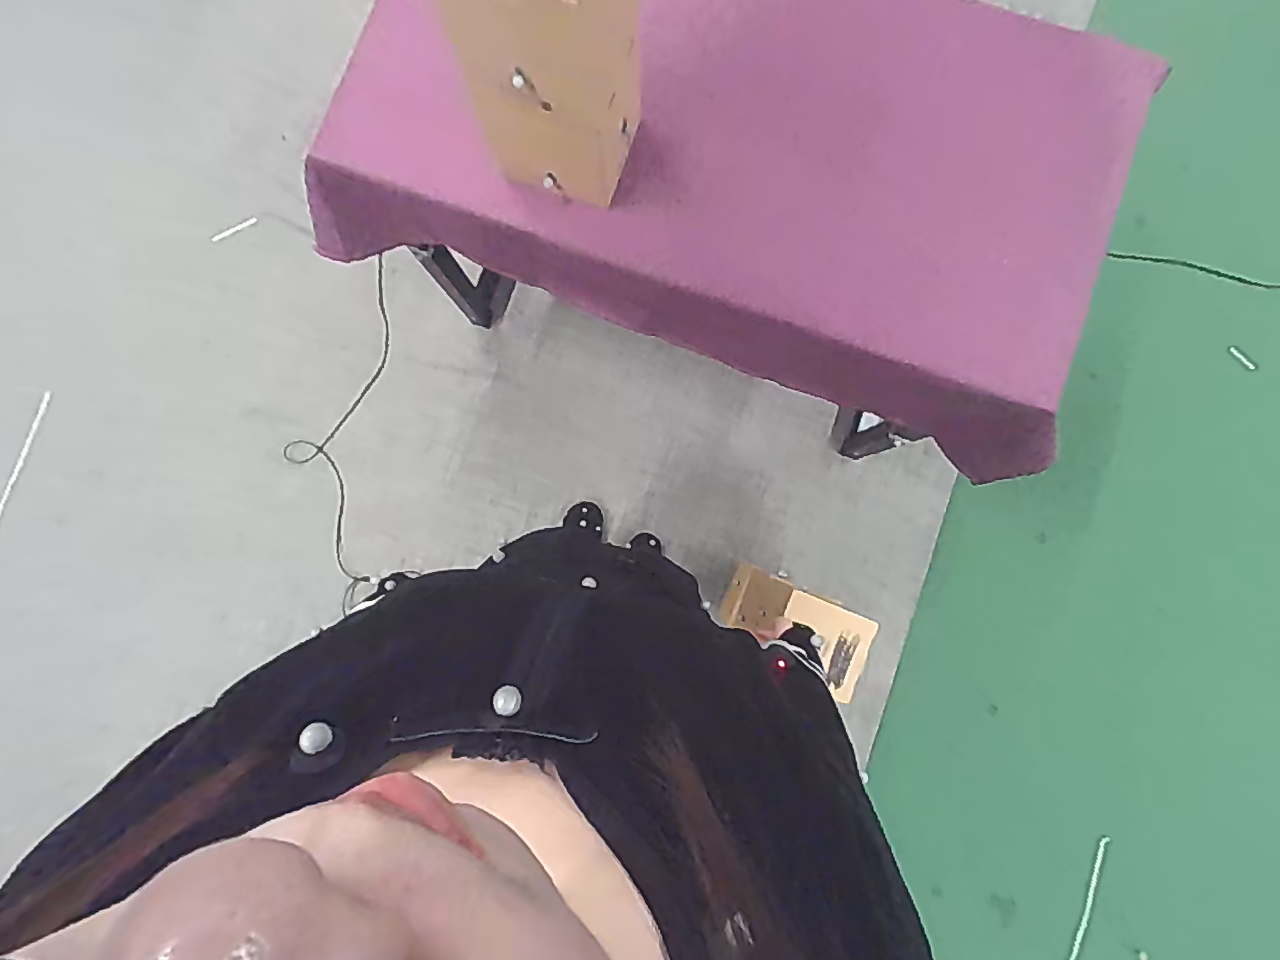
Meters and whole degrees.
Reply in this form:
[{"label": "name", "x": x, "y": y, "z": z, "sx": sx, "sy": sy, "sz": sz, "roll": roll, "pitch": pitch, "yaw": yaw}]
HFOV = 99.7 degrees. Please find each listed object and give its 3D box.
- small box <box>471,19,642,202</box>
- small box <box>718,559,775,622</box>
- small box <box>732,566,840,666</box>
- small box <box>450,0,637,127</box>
[{"label": "small box", "x": -0.106, "y": -0.528, "z": 0.760, "sx": 0.179, "sy": 0.176, "sz": 0.168, "roll": 18, "pitch": 85, "yaw": 0}, {"label": "small box", "x": 0.322, "y": 0.317, "z": 1.431, "sx": 0.179, "sy": 0.176, "sz": 0.168, "roll": 24, "pitch": 86, "yaw": 1}, {"label": "small box", "x": 0.331, "y": 0.309, "z": 1.269, "sx": 0.179, "sy": 0.176, "sz": 0.168, "roll": 21, "pitch": 87, "yaw": 0}, {"label": "small box", "x": -0.103, "y": -0.545, "z": 0.595, "sx": 0.168, "sy": 0.176, "sz": 0.179, "roll": 20, "pitch": 86, "yaw": 2}]
